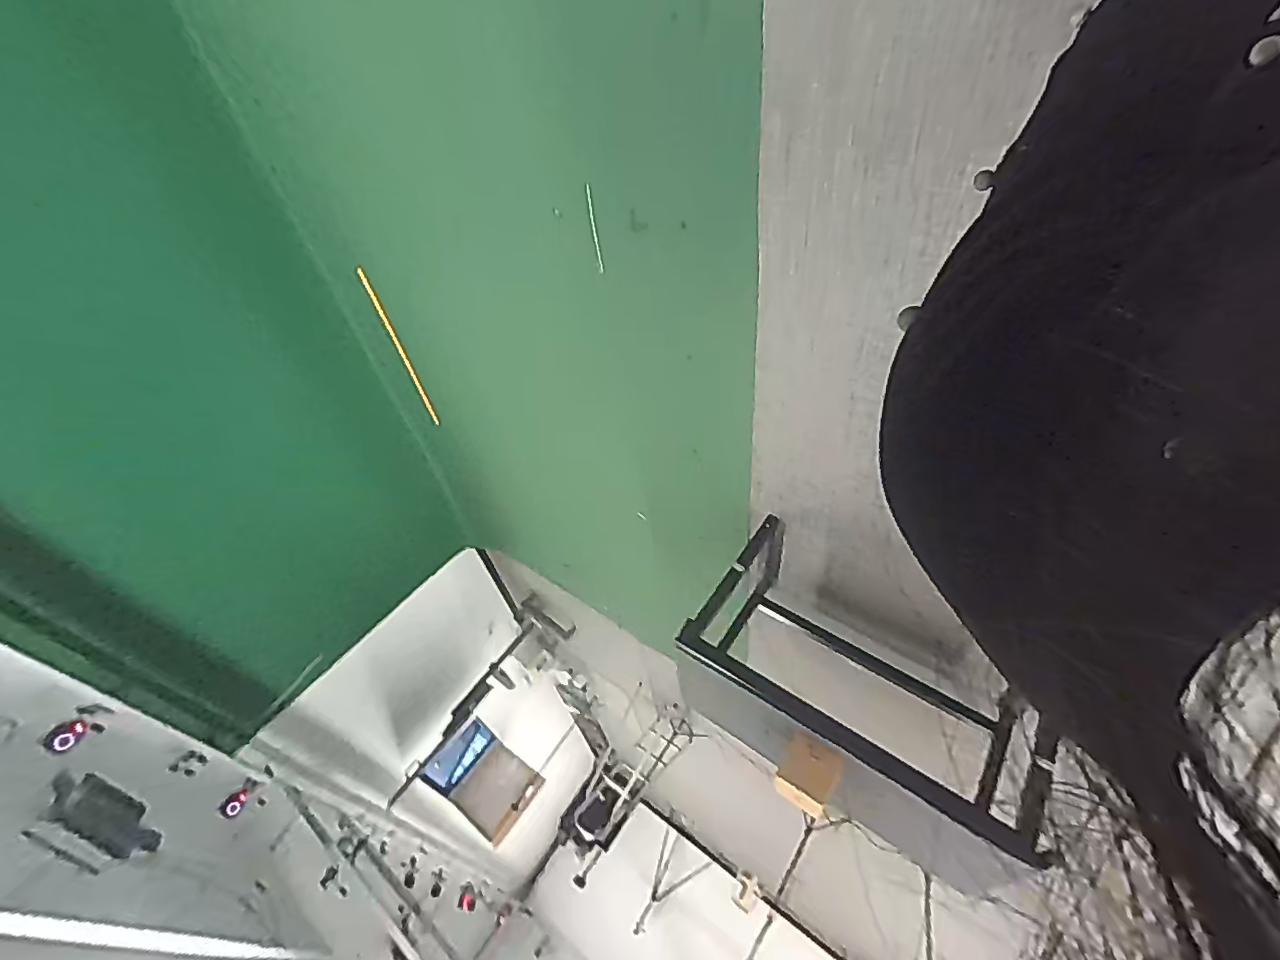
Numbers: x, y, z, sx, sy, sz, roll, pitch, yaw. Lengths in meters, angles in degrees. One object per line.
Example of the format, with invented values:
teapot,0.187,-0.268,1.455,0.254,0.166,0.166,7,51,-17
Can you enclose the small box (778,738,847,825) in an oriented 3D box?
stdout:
small box,0.580,1.010,1.817,0.168,0.176,0.179,23,144,30
